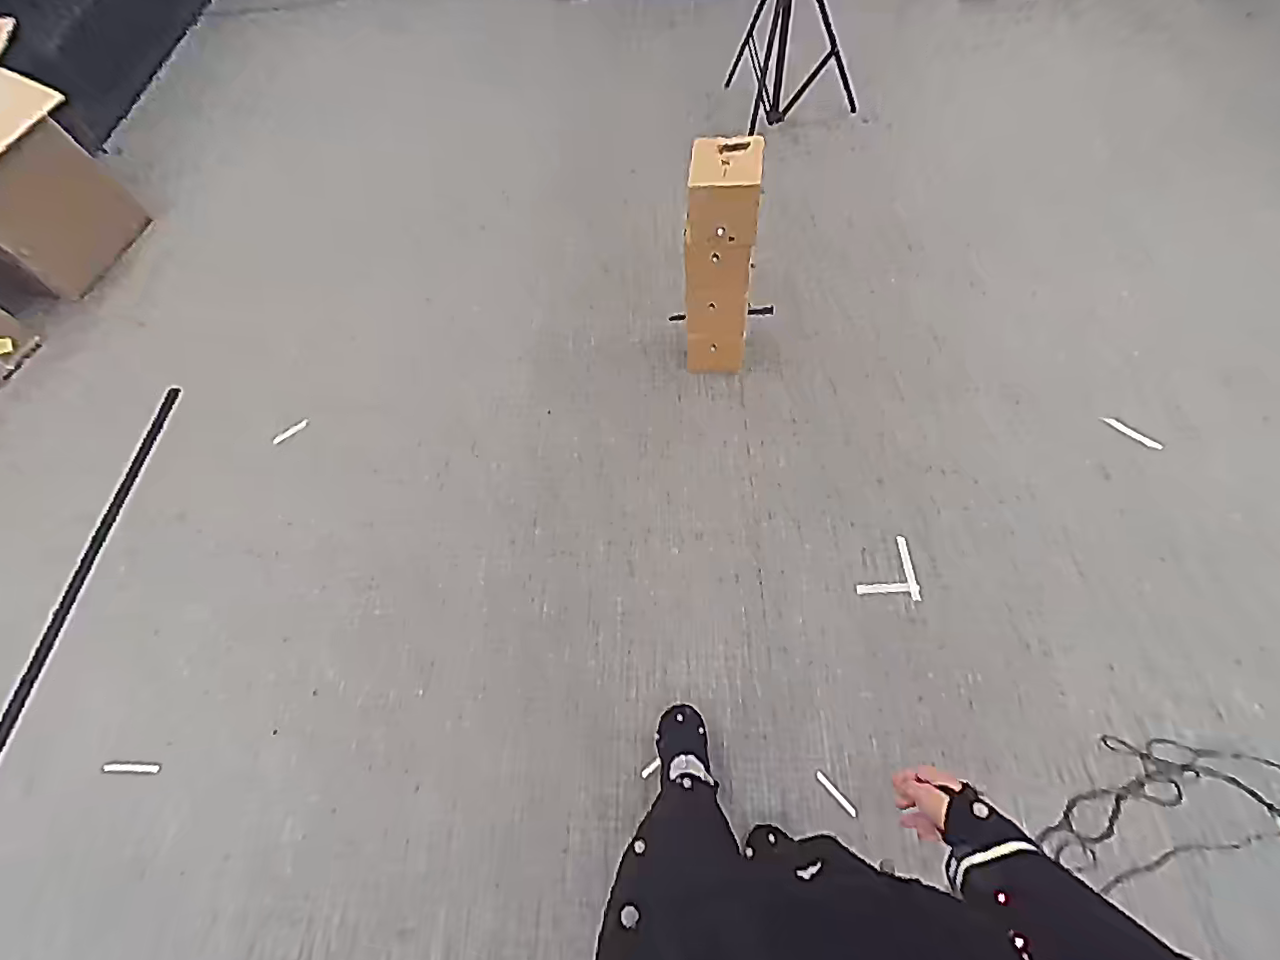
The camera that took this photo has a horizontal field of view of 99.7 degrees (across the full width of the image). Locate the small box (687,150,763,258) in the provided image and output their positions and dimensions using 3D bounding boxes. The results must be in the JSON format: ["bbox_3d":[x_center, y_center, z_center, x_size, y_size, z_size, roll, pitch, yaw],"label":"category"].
[{"bbox_3d":[0.208,-0.677,1.330,0.168,0.176,0.179,4,65,10],"label":"small box"}]

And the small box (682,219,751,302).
[{"bbox_3d":[0.213,-0.605,1.478,0.179,0.176,0.168,5,64,9],"label":"small box"}]

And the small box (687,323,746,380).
[{"bbox_3d":[0.248,-0.439,1.758,0.179,0.176,0.168,4,63,9],"label":"small box"}]

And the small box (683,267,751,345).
[{"bbox_3d":[0.230,-0.523,1.617,0.179,0.176,0.168,7,64,11],"label":"small box"}]
